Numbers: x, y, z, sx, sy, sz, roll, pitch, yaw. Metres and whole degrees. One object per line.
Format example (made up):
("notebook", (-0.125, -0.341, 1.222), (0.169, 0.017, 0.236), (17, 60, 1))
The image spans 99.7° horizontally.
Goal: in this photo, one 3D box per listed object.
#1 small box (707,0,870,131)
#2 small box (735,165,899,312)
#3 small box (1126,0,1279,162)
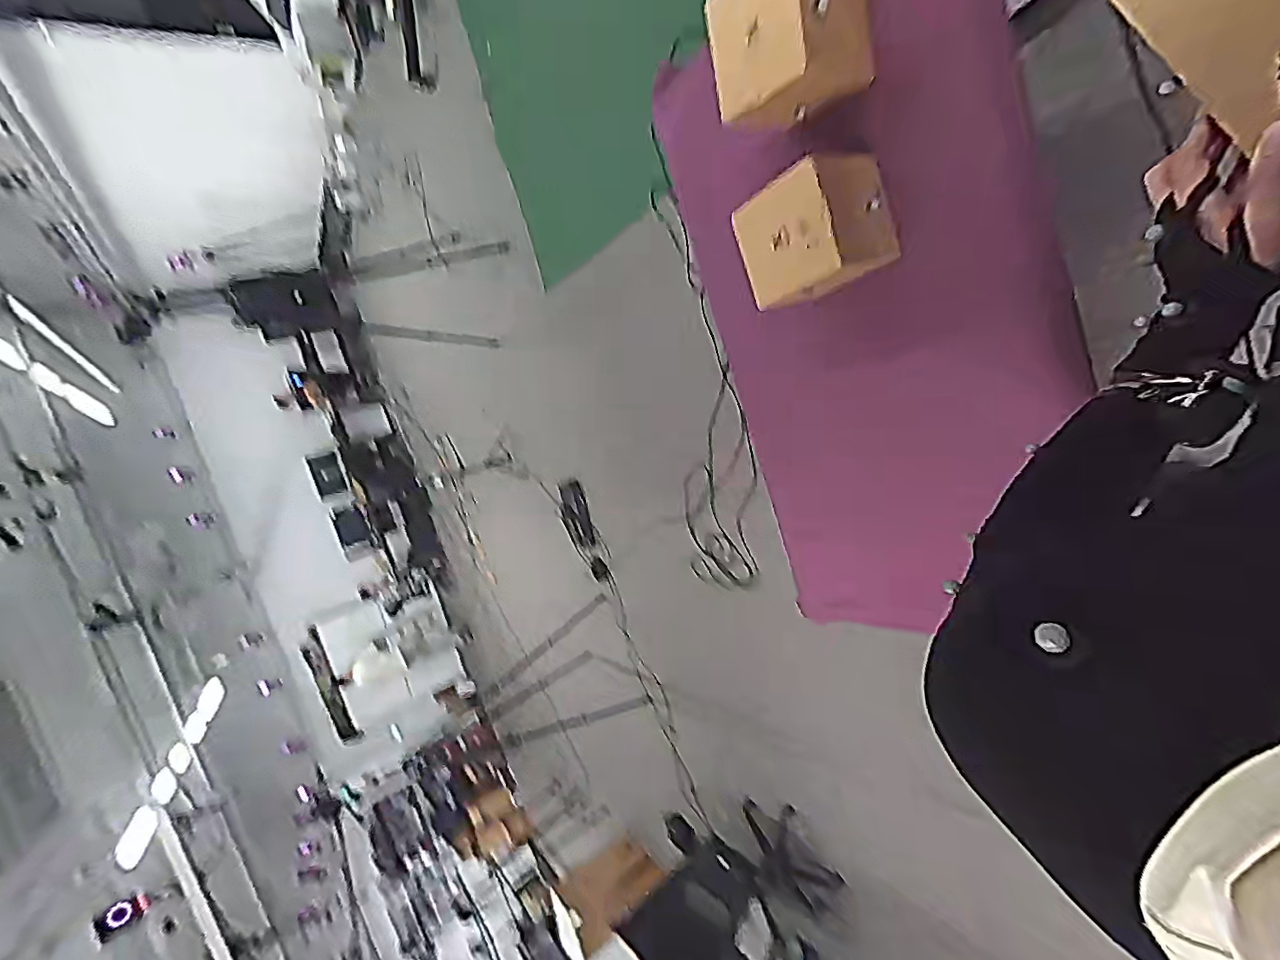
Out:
("small box", (0.234, -0.673, 0.844), (0.168, 0.176, 0.179), (7, 115, 54))
("small box", (0.296, -0.400, 0.909), (0.179, 0.176, 0.168), (-11, 99, 57))
("small box", (0.503, -0.369, 0.388), (0.179, 0.176, 0.168), (57, 143, 4))
